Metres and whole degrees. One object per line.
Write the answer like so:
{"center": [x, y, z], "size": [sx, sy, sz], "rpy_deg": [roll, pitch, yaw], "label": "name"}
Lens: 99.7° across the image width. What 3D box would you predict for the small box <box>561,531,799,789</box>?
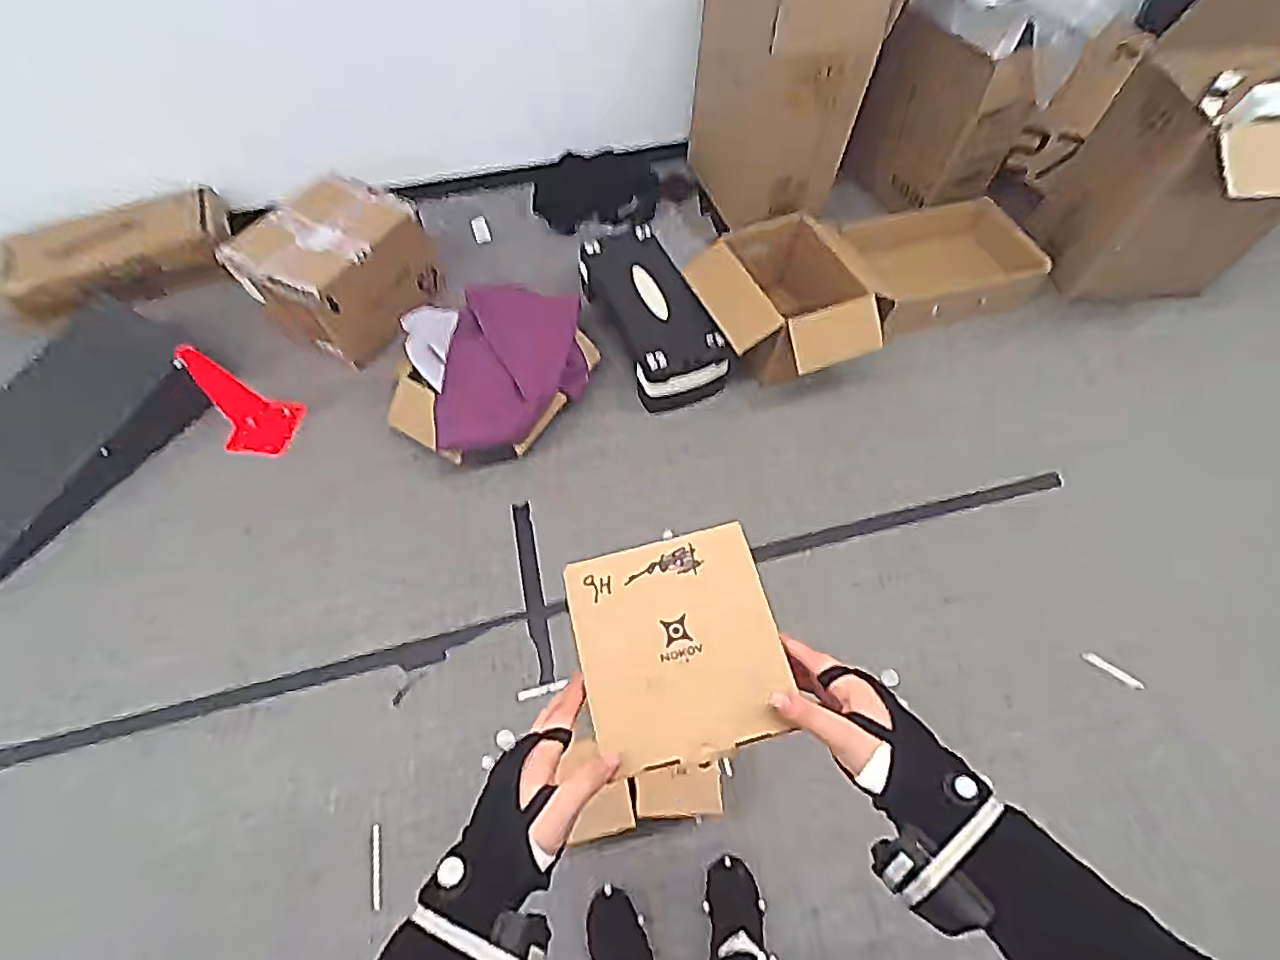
{"center": [0.032, 0.169, 0.522], "size": [0.168, 0.176, 0.179], "rpy_deg": [-14, 69, -3], "label": "small box"}
